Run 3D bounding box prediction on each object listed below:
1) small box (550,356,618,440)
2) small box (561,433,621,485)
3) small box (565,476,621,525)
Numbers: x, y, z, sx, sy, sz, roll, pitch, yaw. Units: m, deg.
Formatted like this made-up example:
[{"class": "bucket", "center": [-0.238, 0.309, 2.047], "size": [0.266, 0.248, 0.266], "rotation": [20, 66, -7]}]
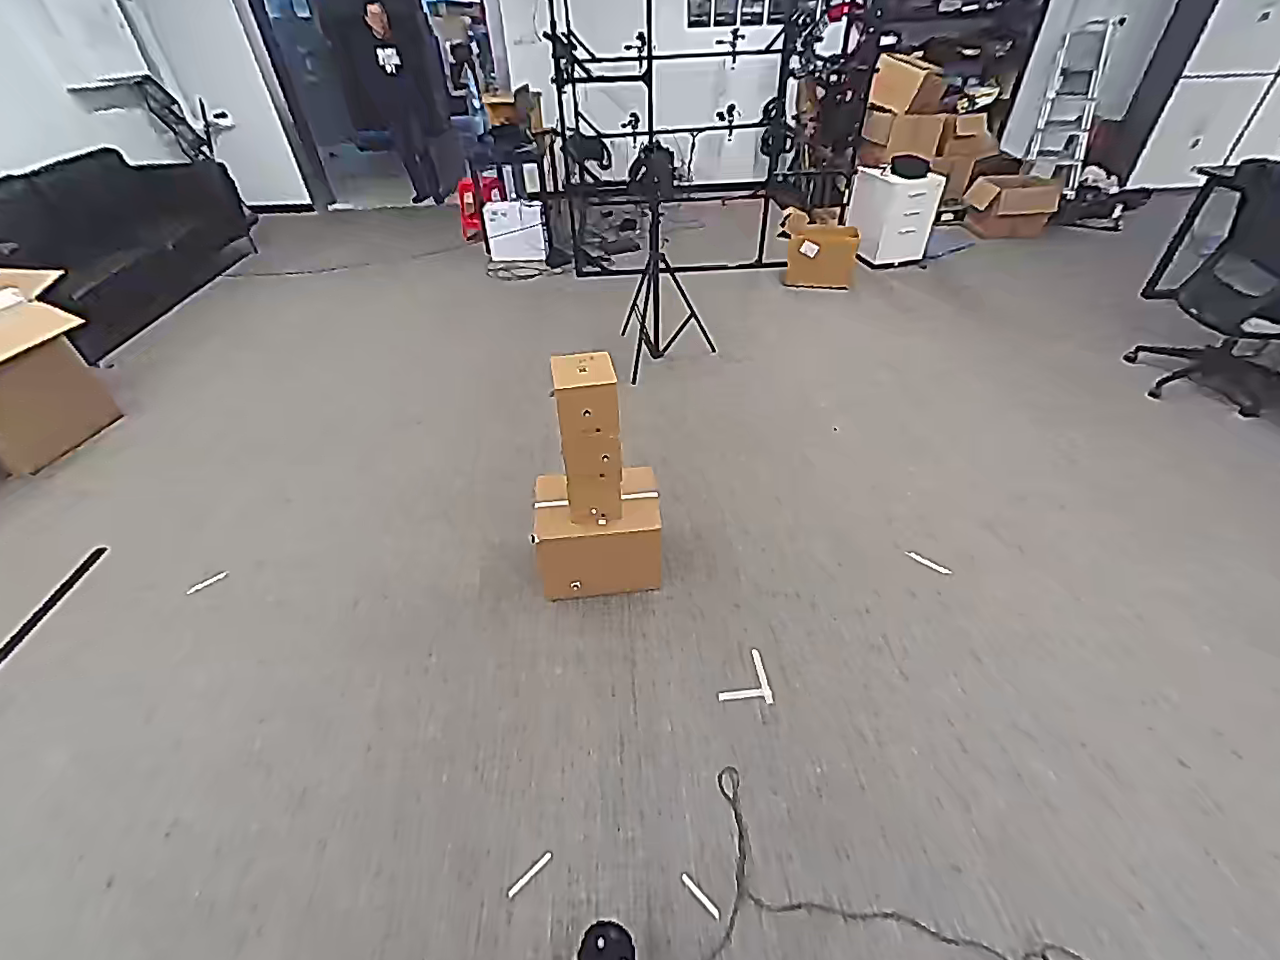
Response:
[{"class": "small box", "center": [-0.156, -0.225, 1.517], "size": [0.168, 0.176, 0.179], "rotation": [-7, 42, -9]}, {"class": "small box", "center": [-0.148, -0.098, 1.622], "size": [0.168, 0.176, 0.179], "rotation": [-5, 40, -6]}, {"class": "small box", "center": [-0.150, 0.022, 1.731], "size": [0.168, 0.176, 0.179], "rotation": [-5, 42, -4]}]
